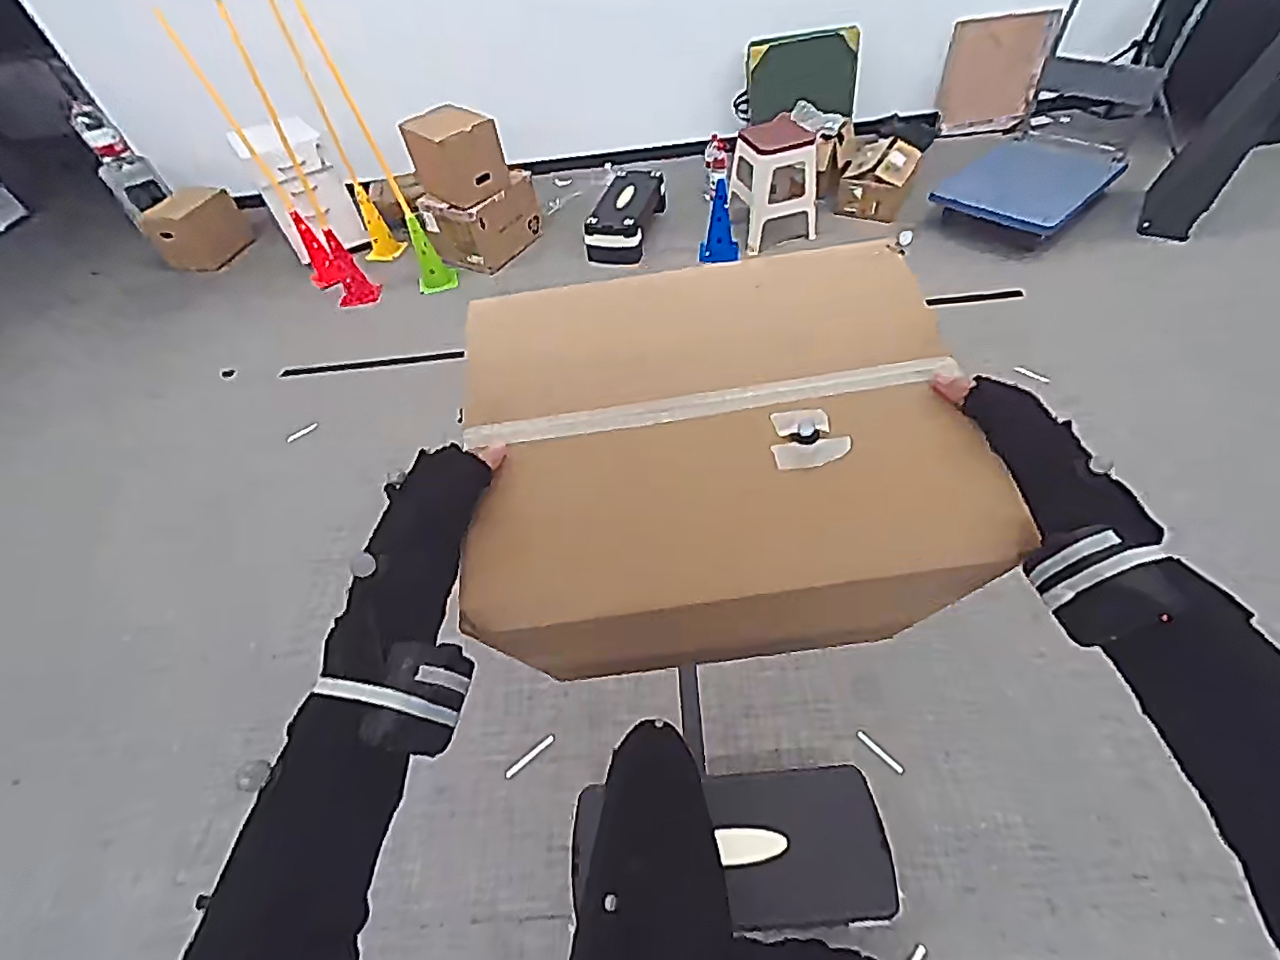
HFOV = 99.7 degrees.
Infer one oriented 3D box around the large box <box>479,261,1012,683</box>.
[{"bbox_3d":[0.068,0.016,0.593,0.408,0.320,0.320,-8,63,1],"label":"large box"}]
